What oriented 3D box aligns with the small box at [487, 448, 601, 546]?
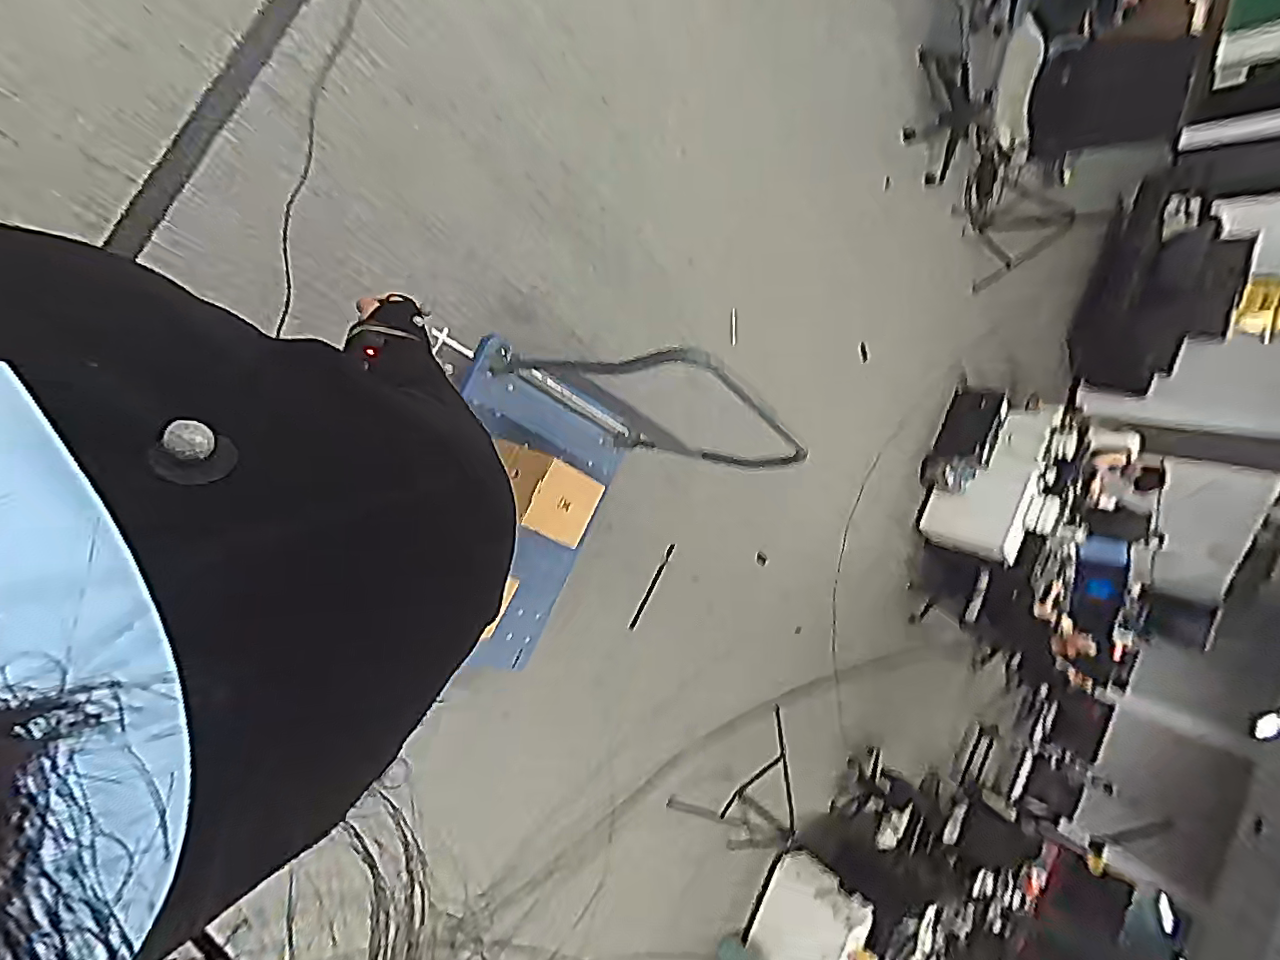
[{"bbox_3d":[-0.233,0.035,1.305,0.179,0.176,0.168,32,81,-43],"label":"small box"}]
